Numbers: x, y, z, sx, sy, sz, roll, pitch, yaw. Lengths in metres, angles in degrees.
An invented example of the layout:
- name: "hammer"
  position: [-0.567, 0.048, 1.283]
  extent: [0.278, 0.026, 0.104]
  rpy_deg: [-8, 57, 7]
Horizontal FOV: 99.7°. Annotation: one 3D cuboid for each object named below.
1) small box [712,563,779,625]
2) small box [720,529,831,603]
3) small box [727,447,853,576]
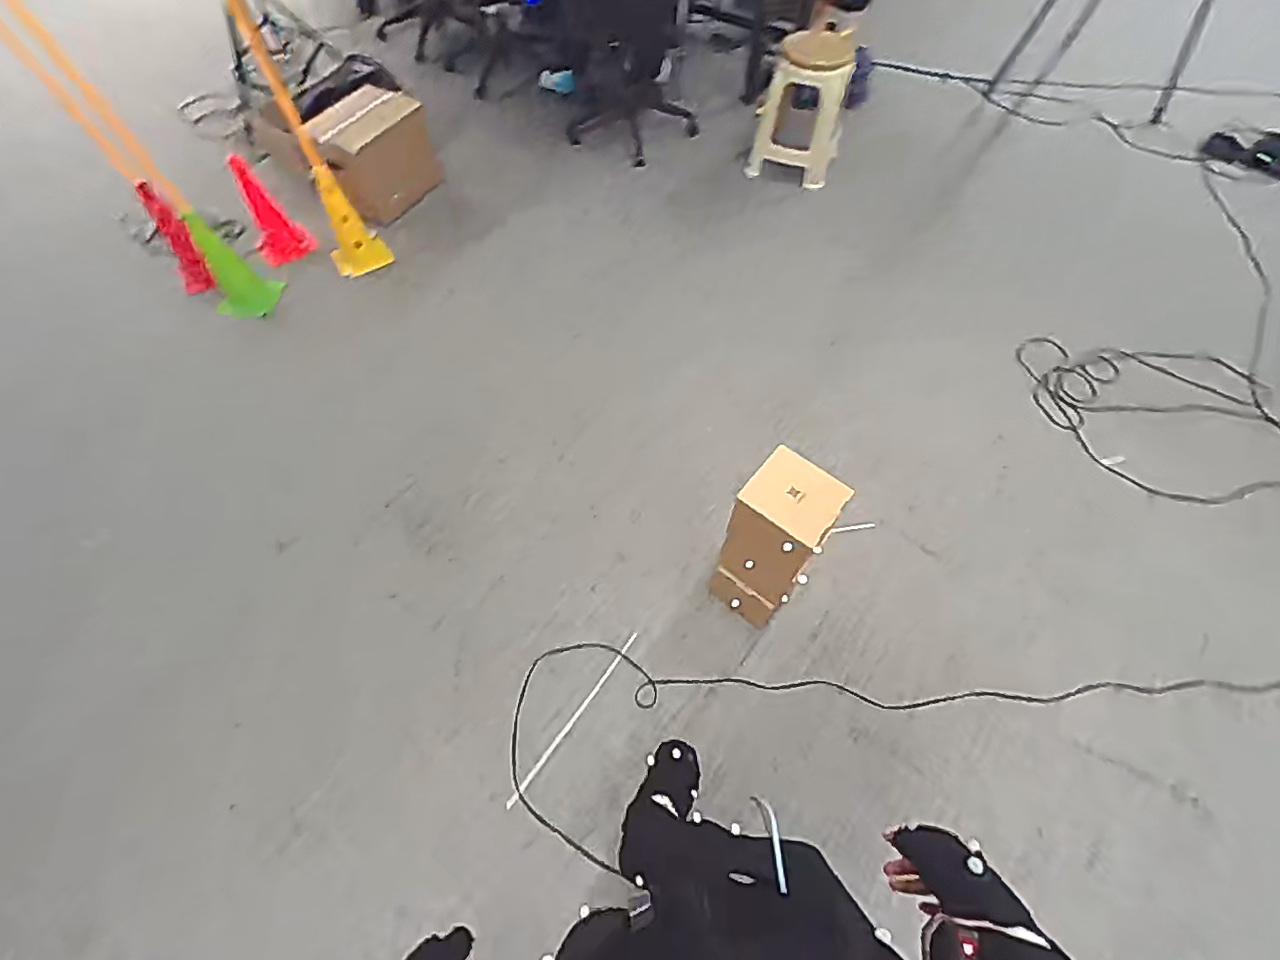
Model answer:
- name: "small box"
  position: [0.301, 0.247, 1.400]
  extent: [0.168, 0.176, 0.179]
  rpy_deg: [35, 65, 18]
- name: "small box"
  position: [0.307, 0.159, 1.261]
  extent: [0.179, 0.176, 0.168]
  rpy_deg: [36, 65, 18]
- name: "small box"
  position: [0.300, 0.071, 1.124]
  extent: [0.179, 0.176, 0.168]
  rpy_deg: [36, 65, 18]
